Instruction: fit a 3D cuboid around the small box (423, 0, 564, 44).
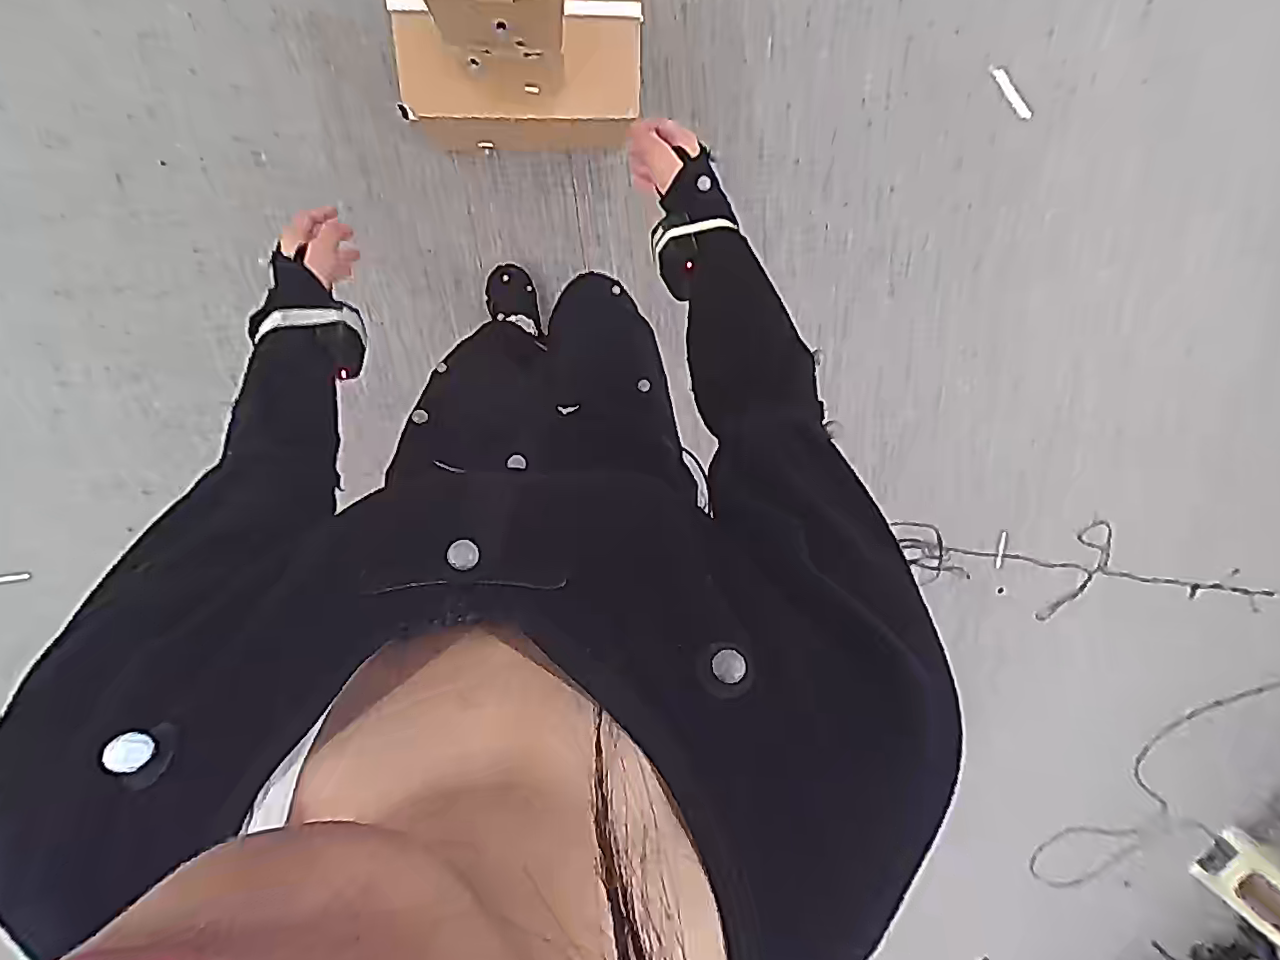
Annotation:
[{"bbox_3d":[-0.178,-0.660,0.654,0.168,0.176,0.179,-4,113,-8],"label":"small box"}]
